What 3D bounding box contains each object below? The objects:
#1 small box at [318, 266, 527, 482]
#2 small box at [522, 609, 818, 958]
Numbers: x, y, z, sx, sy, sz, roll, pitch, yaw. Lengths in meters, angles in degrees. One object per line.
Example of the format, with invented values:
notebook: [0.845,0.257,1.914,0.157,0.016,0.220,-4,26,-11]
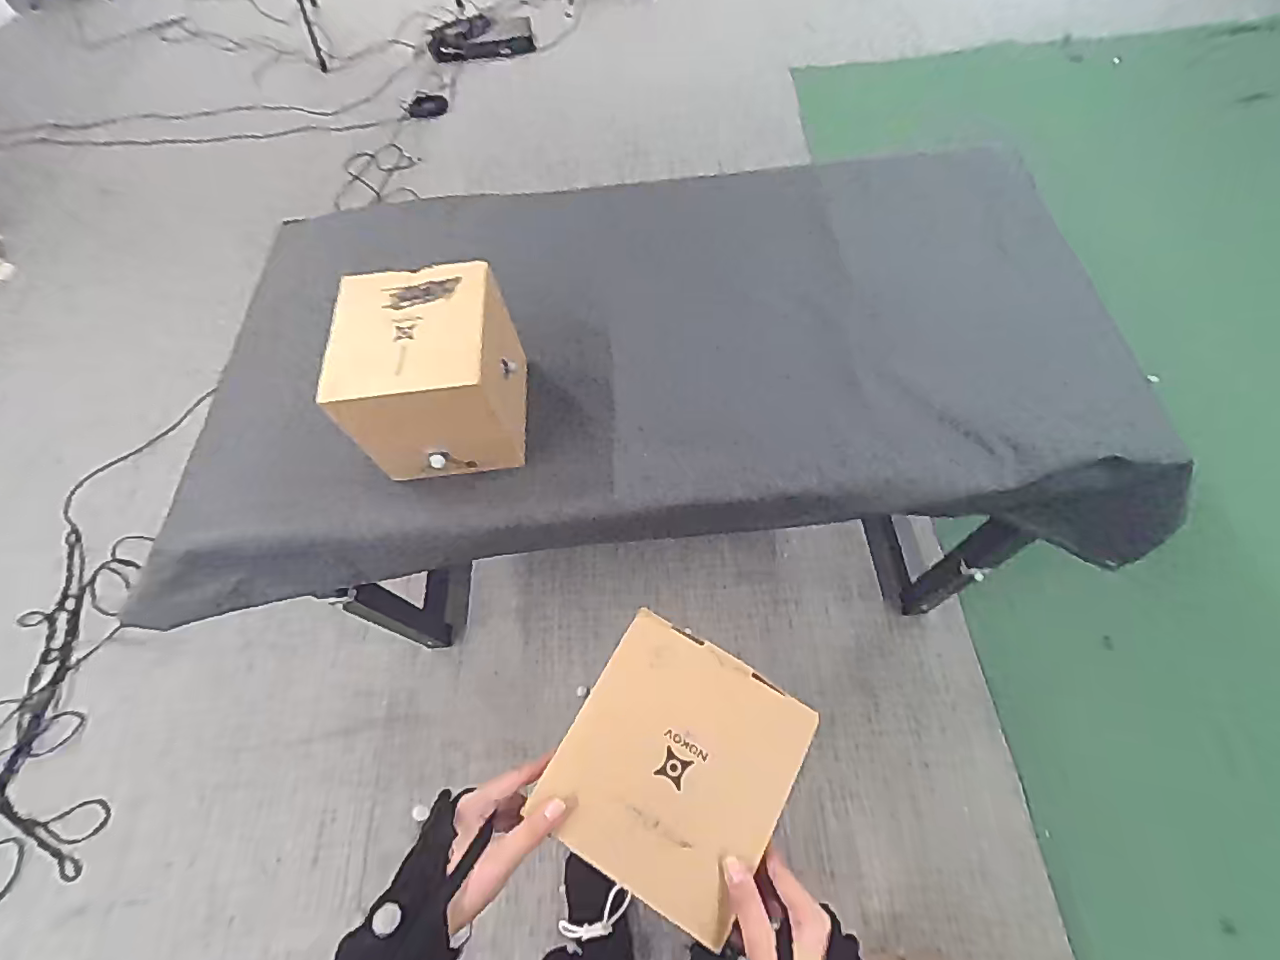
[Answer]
small box: [-0.235,-0.117,0.634,0.168,0.176,0.179,-7,62,2]
small box: [0.024,0.240,0.472,0.168,0.176,0.179,28,71,11]
